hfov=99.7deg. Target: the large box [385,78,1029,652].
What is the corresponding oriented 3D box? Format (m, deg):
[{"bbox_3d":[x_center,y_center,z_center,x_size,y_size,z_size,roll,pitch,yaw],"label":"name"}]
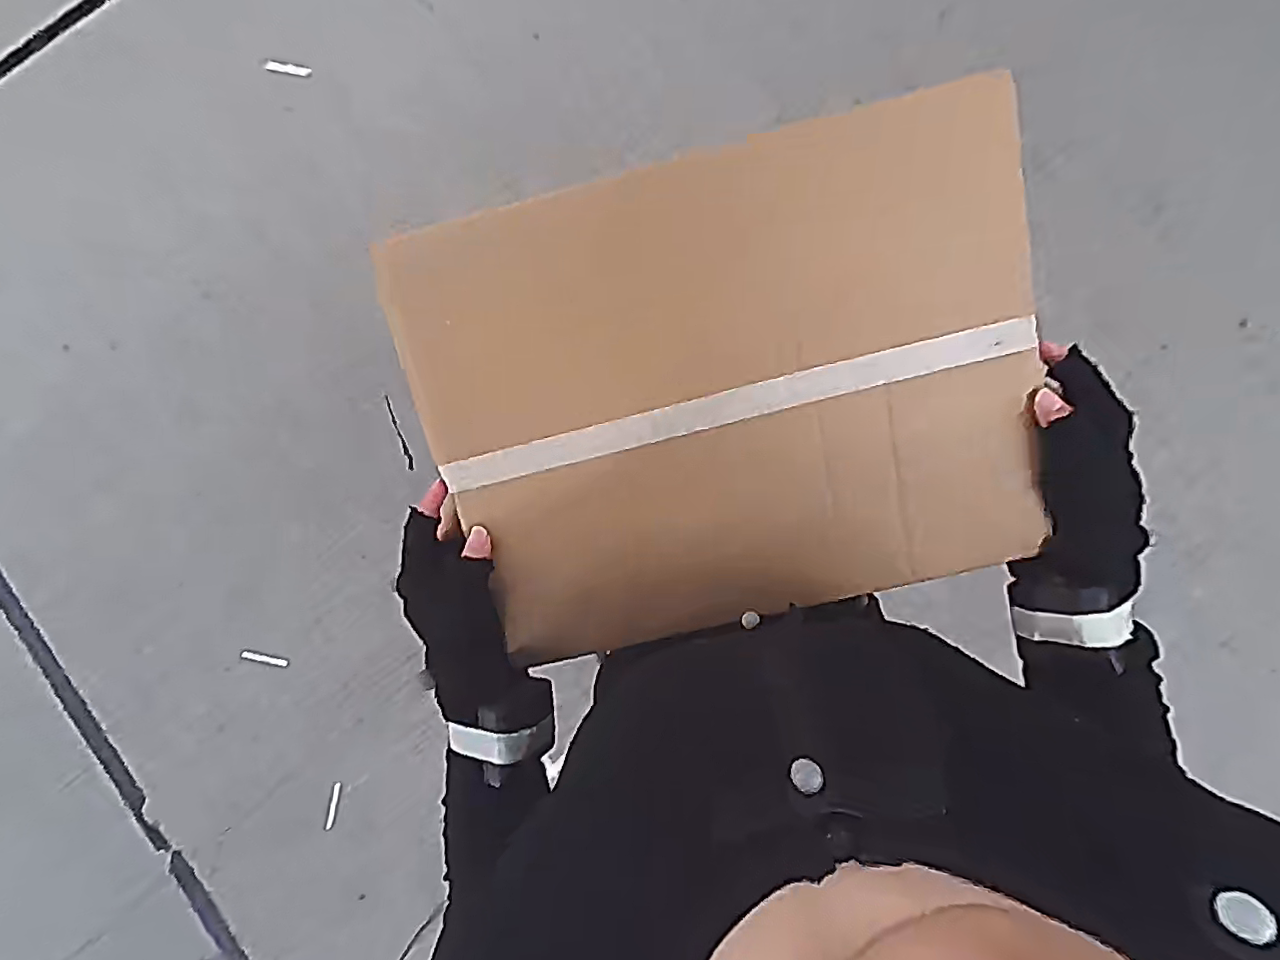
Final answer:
[{"bbox_3d":[0.057,-0.089,0.520,0.408,0.320,0.320,-13,104,3],"label":"large box"}]
